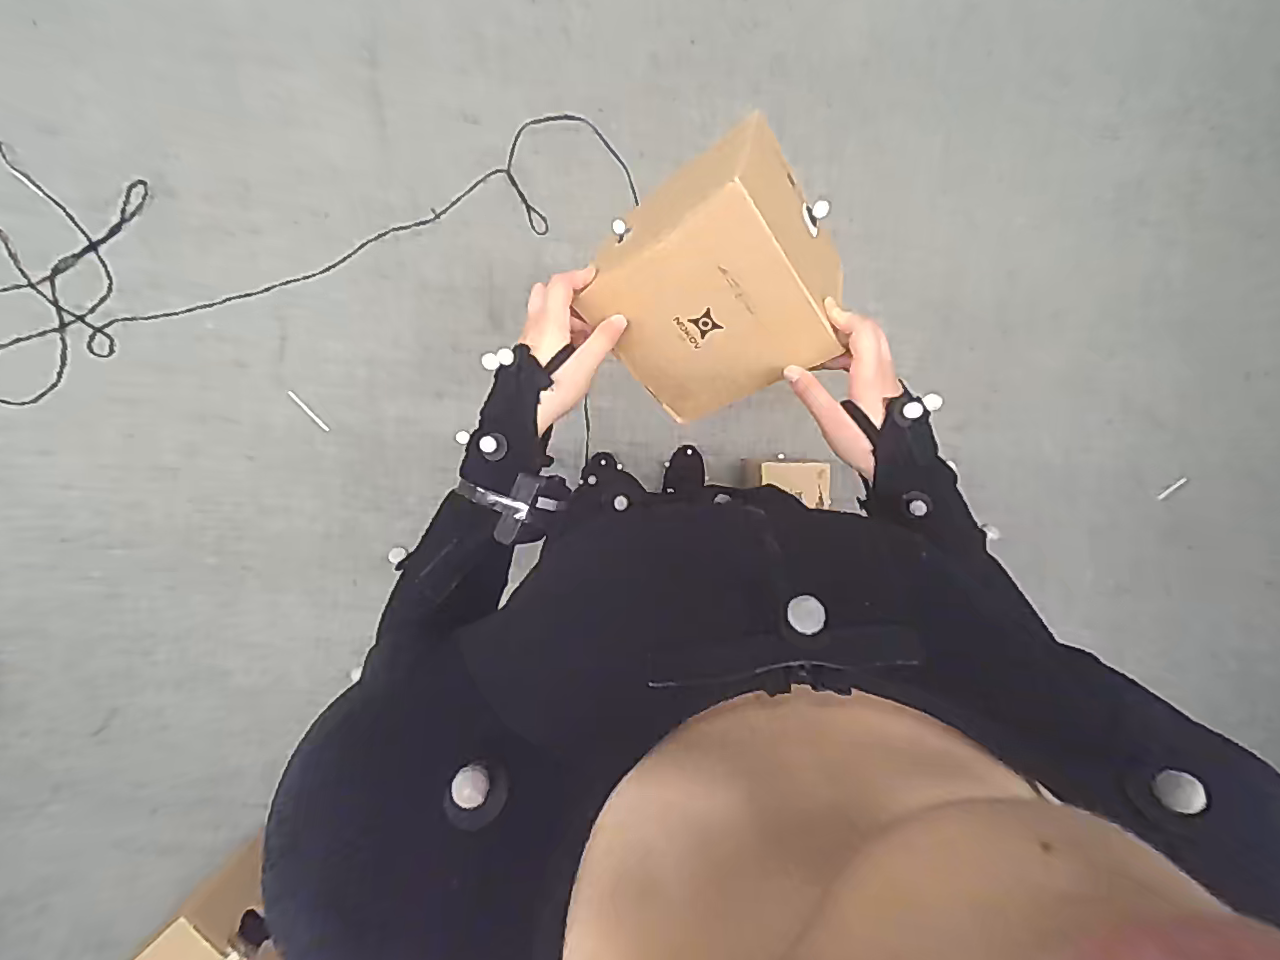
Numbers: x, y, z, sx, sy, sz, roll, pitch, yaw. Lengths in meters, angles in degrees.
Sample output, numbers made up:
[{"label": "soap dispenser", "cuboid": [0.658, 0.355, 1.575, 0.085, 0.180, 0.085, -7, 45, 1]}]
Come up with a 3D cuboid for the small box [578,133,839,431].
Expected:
[{"label": "small box", "cuboid": [0.075, -0.184, 0.520, 0.179, 0.176, 0.168, -23, 126, 36]}]

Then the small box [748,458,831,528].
[{"label": "small box", "cuboid": [0.386, 0.031, 1.426, 0.179, 0.176, 0.168, 1, 95, -1]}]
